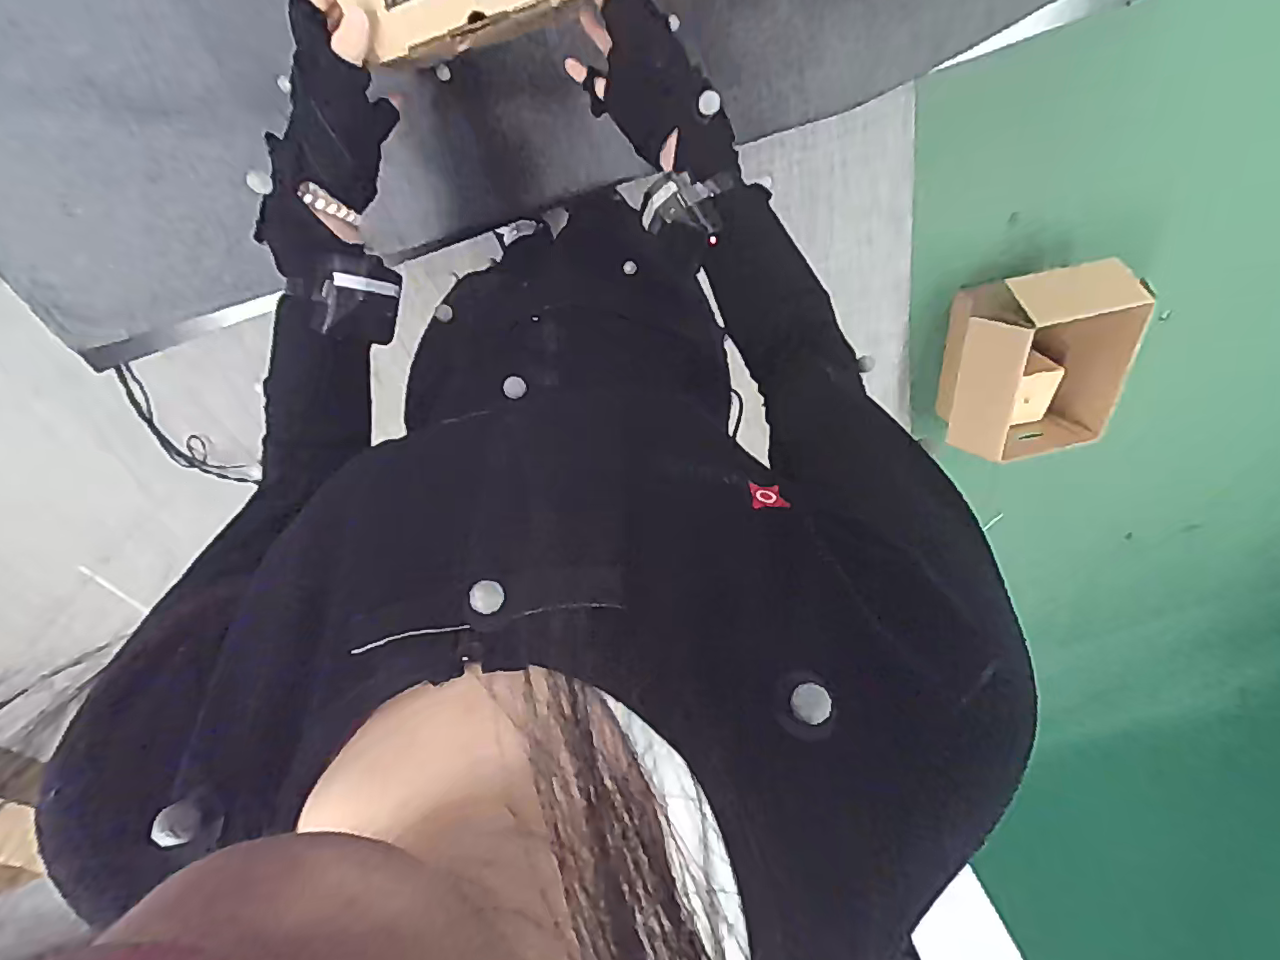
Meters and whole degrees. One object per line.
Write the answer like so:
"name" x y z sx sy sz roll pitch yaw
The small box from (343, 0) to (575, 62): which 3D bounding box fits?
"small box" -0.142 -0.423 0.380 0.168 0.176 0.179 -18 126 2
